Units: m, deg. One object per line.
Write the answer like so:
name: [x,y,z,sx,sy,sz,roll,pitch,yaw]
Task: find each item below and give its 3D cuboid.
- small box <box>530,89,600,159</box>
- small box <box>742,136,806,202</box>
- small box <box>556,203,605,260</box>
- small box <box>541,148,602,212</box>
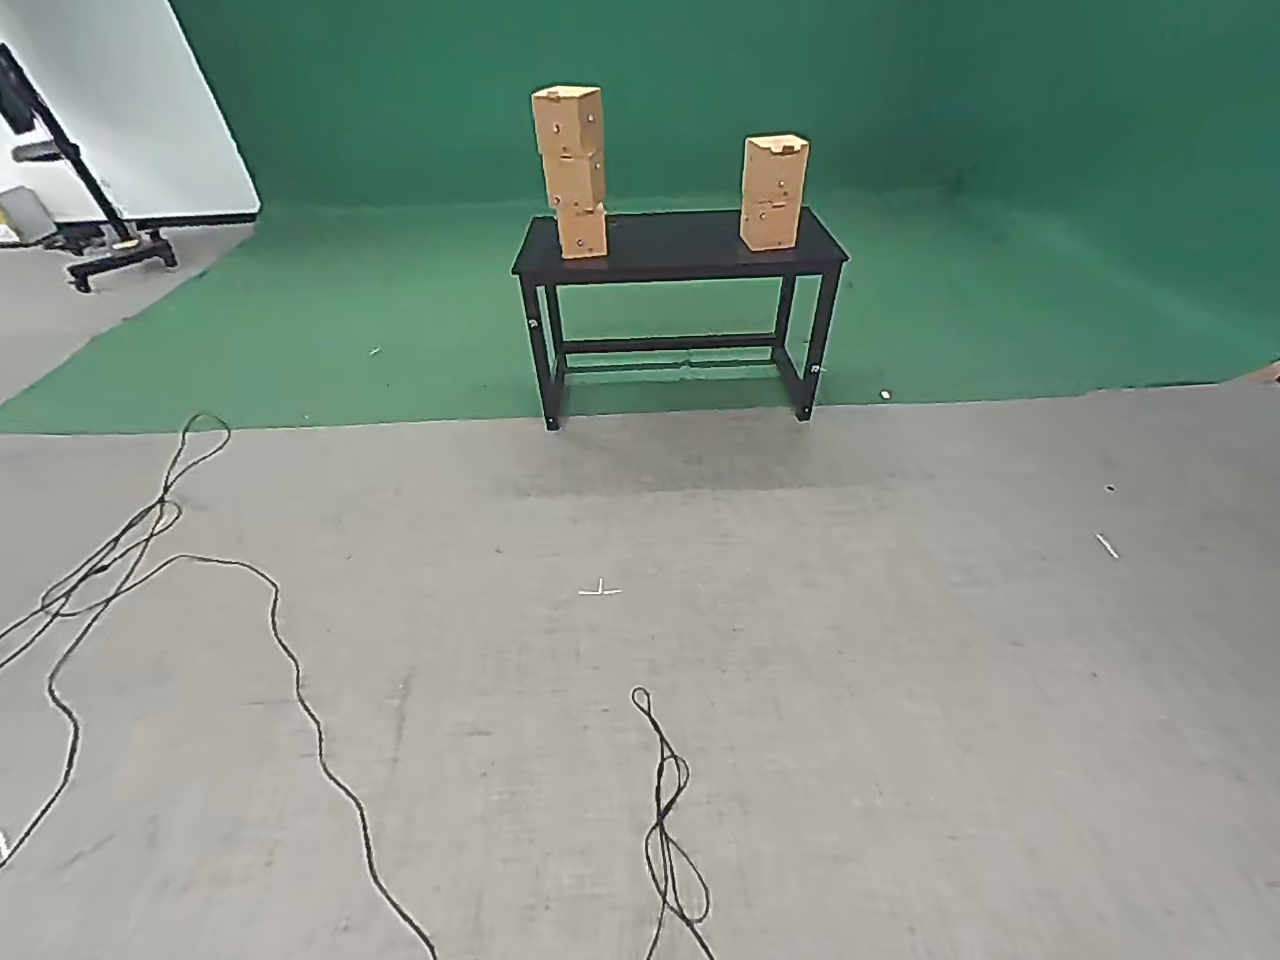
small box: [-0.241,-1.185,1.802,0.168,0.176,0.179,15,47,17]
small box: [0.462,-1.093,1.901,0.168,0.176,0.179,-8,42,-5]
small box: [-0.224,-0.939,2.020,0.168,0.176,0.179,-8,44,-6]
small box: [-0.233,-1.060,1.909,0.168,0.176,0.179,7,43,9]
